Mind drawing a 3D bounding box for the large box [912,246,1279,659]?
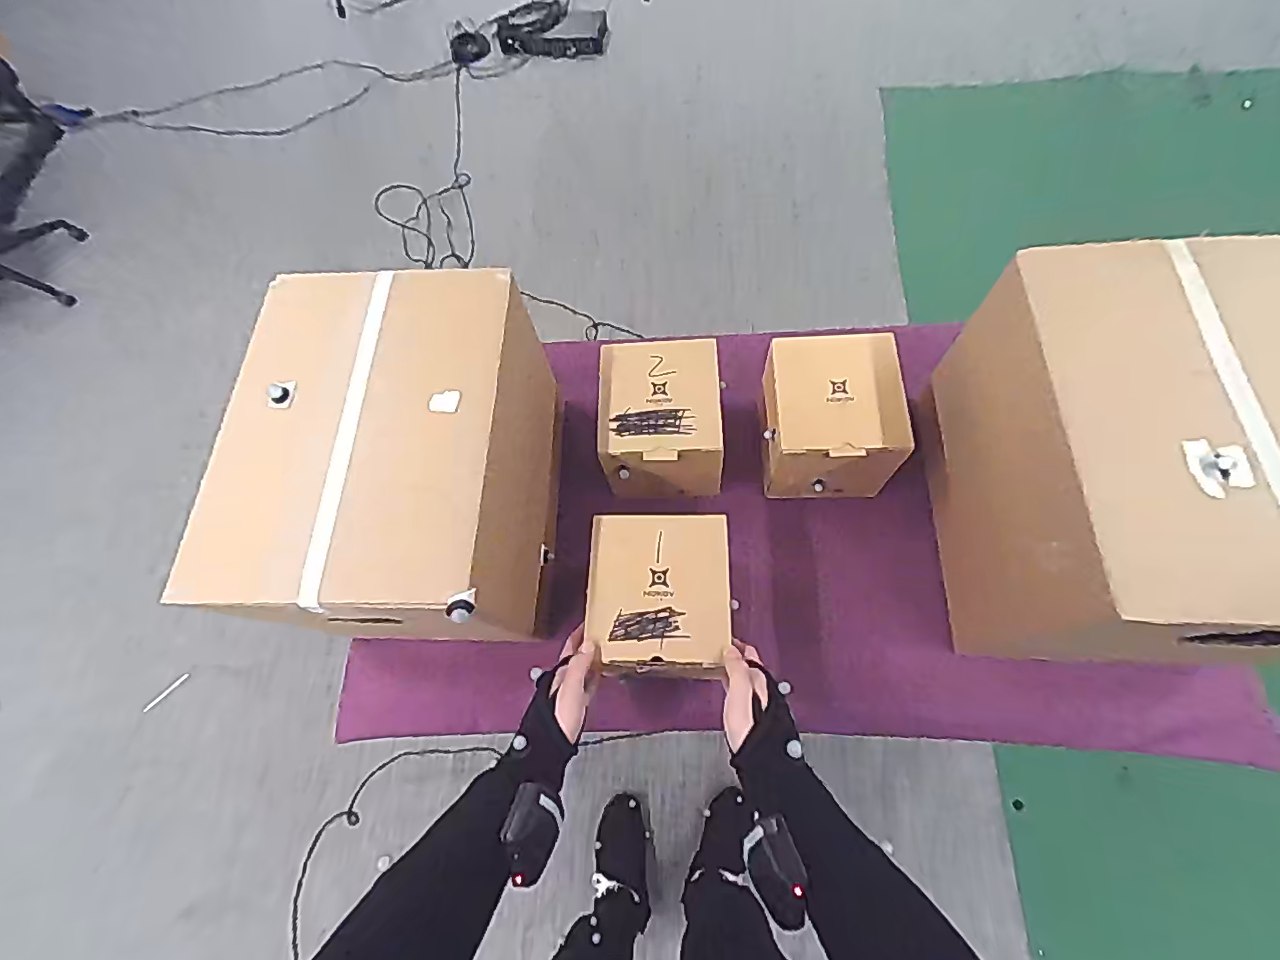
[{"bbox_3d":[0.569,-0.009,0.646,0.320,0.320,0.408,-1,68,6],"label":"large box"}]
